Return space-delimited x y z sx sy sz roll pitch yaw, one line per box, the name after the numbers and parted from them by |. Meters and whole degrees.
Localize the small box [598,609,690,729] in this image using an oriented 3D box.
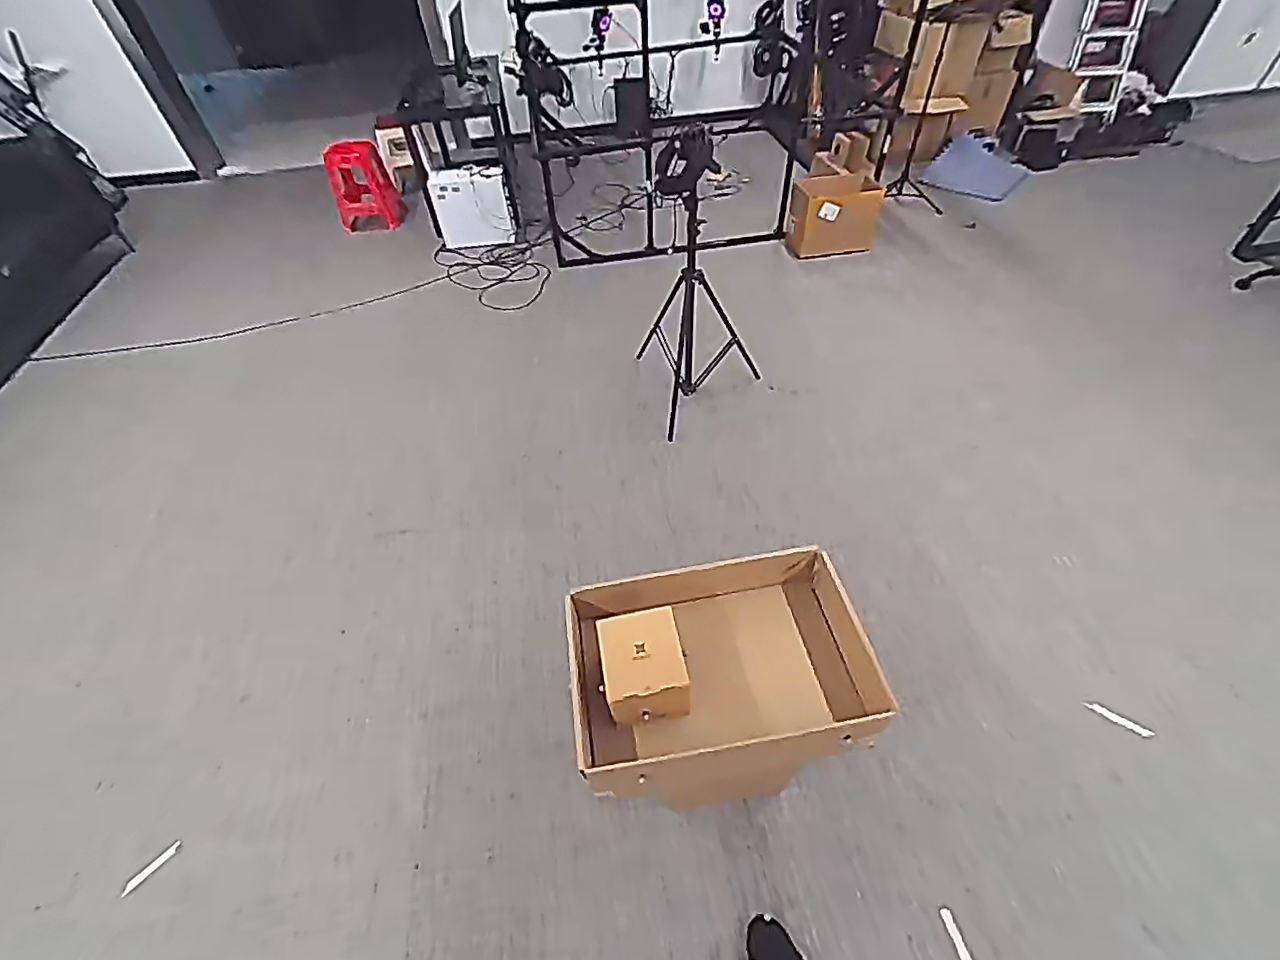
0.007 0.405 1.158 0.168 0.176 0.179 -11 49 -5 | small box
